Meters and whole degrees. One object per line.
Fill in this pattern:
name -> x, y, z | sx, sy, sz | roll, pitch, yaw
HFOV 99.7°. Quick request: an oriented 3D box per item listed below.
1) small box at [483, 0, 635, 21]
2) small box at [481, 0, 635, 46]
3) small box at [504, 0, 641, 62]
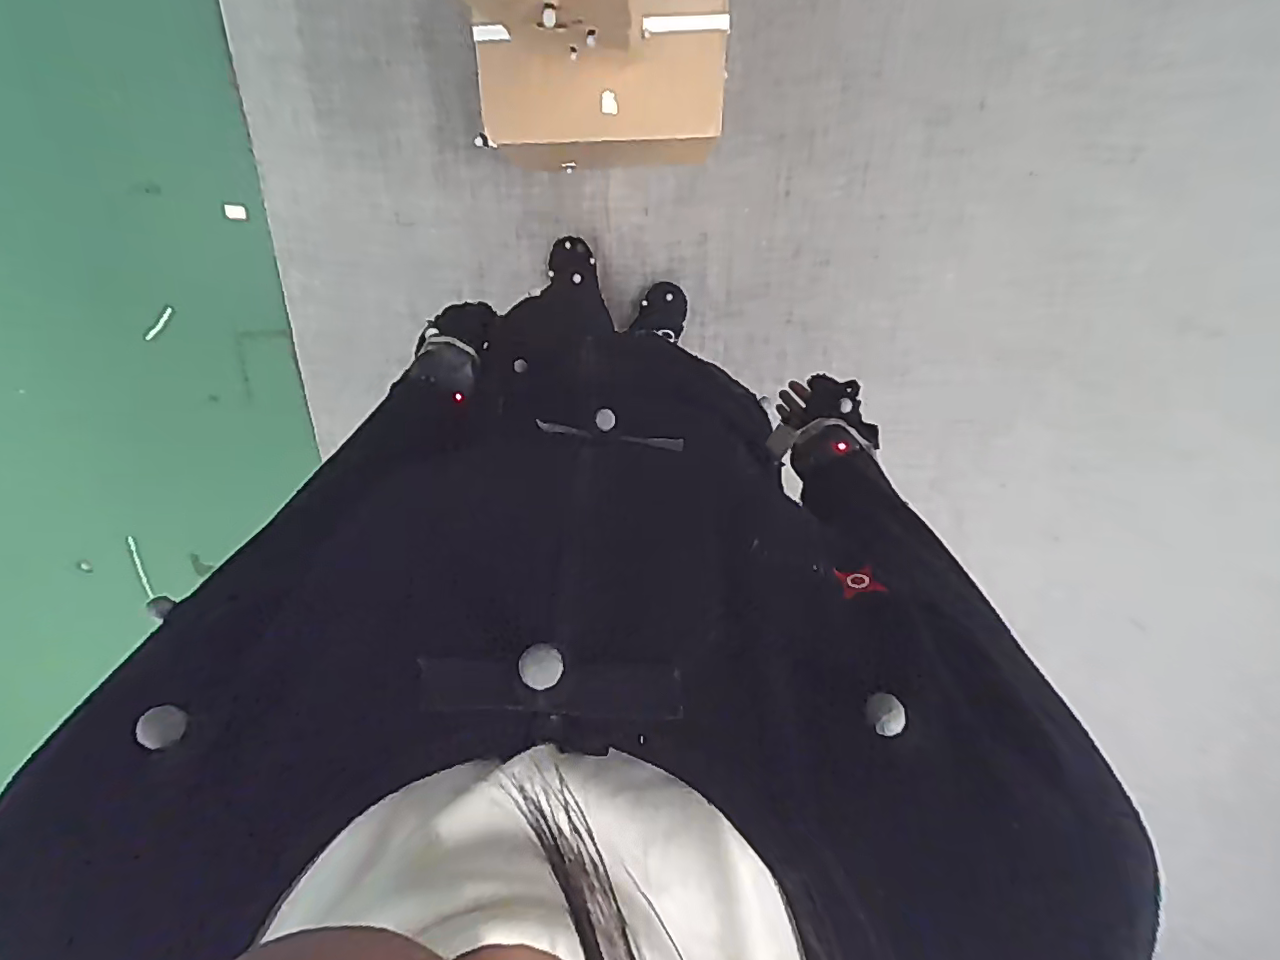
small box -> -0.085, -0.542, 0.485 | 0.168, 0.176, 0.179 | 3, 119, 0
small box -> -0.086, -0.631, 0.622 | 0.168, 0.176, 0.179 | 5, 117, -2
small box -> -0.085, -0.712, 0.760 | 0.179, 0.176, 0.168 | 6, 117, 0
